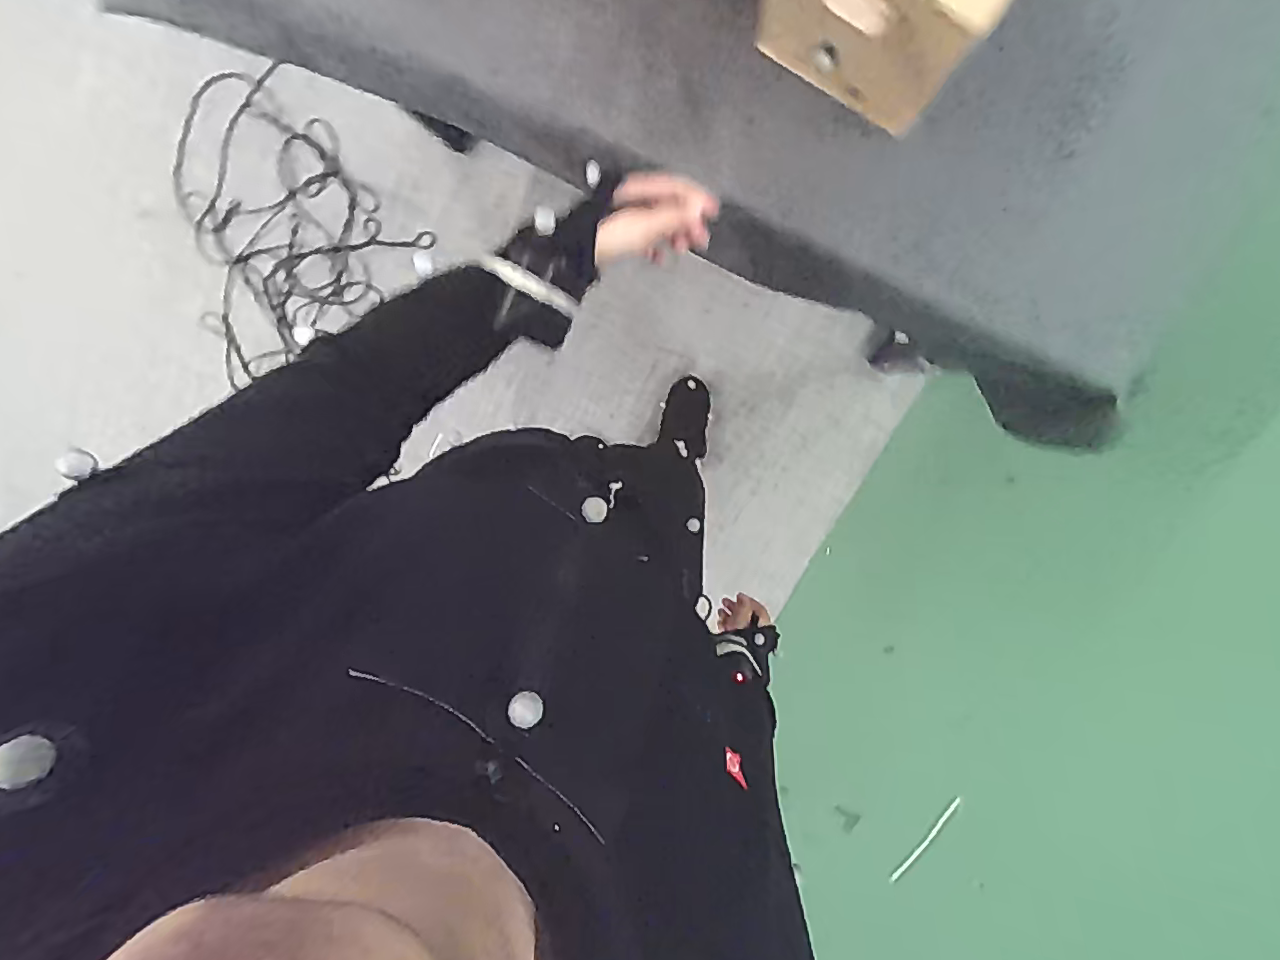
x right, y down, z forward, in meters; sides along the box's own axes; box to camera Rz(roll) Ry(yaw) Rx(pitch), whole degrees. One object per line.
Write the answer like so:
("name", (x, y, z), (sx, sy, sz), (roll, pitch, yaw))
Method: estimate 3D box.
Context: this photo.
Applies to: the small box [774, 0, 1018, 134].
("small box", (0.221, -0.423, 0.420), (0.168, 0.176, 0.179), (33, 104, 0))
